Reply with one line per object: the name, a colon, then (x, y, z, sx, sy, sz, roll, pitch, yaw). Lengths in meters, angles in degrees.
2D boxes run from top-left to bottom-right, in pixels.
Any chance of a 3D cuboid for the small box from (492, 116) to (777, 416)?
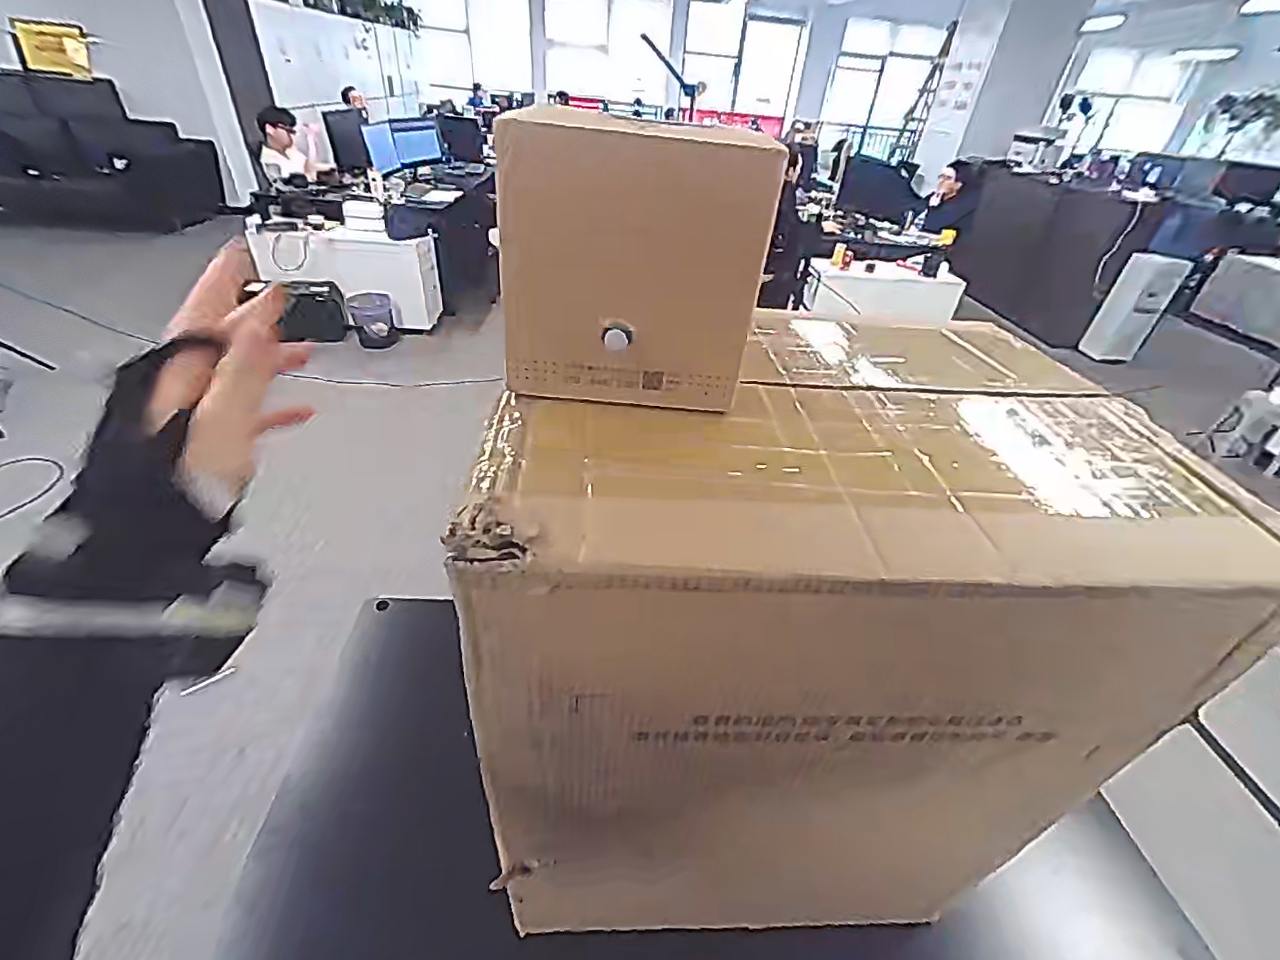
small box: (-0.009, -0.168, 0.416, 0.168, 0.176, 0.179, 4, 36, -2)
